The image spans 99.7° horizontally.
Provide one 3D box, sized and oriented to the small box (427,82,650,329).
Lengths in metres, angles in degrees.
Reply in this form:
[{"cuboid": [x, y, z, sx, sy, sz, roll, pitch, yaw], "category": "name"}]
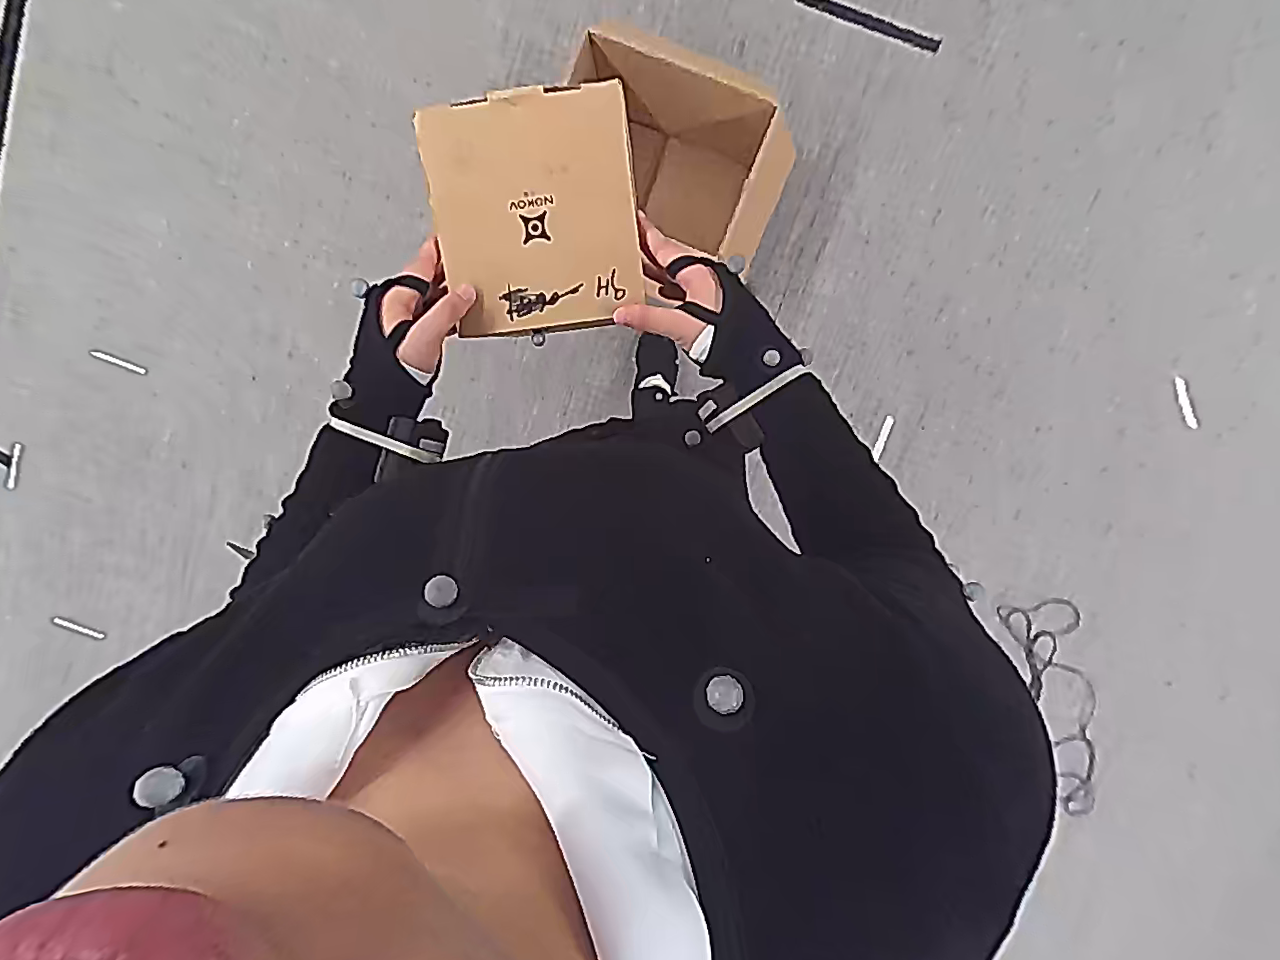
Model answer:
[{"cuboid": [-0.081, -0.244, 0.526, 0.168, 0.176, 0.179, -6, 106, 3], "category": "small box"}]
